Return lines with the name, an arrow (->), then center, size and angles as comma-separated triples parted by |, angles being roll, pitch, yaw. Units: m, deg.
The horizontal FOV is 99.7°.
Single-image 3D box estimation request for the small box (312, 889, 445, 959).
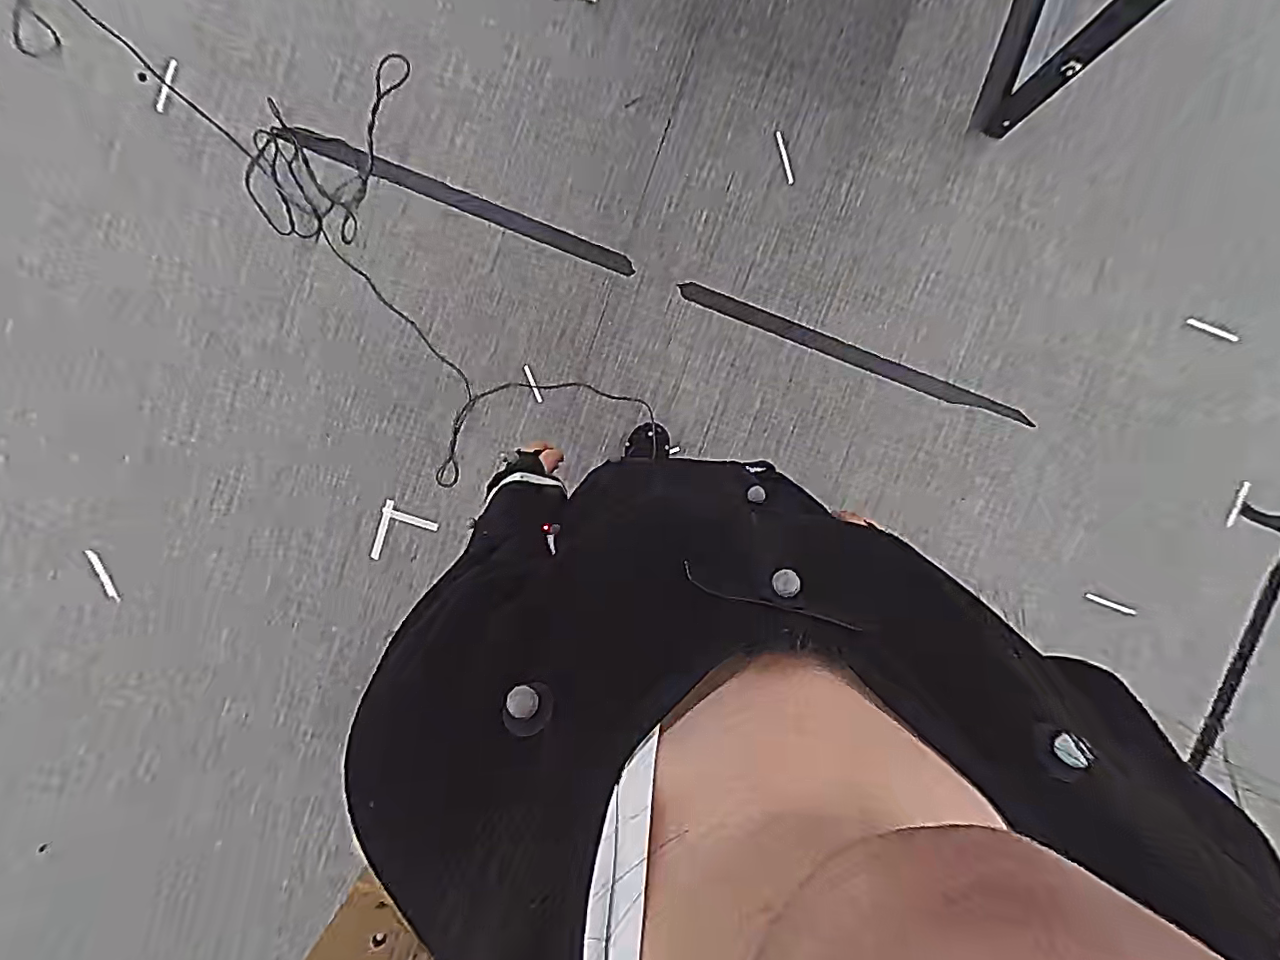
small box -> -0.421, 0.792, 0.843 | 0.168, 0.176, 0.179 | 12, 94, 0
